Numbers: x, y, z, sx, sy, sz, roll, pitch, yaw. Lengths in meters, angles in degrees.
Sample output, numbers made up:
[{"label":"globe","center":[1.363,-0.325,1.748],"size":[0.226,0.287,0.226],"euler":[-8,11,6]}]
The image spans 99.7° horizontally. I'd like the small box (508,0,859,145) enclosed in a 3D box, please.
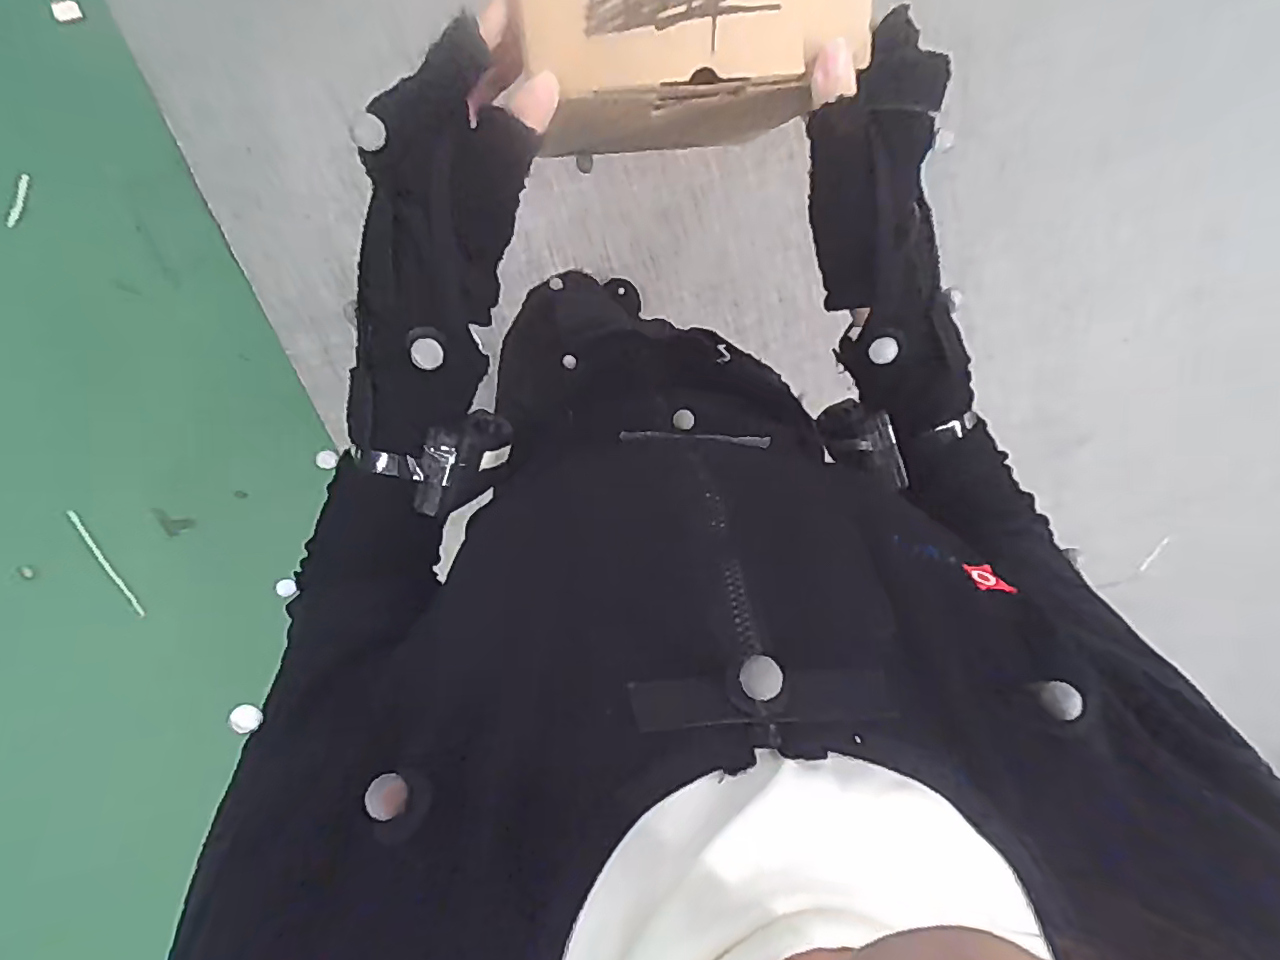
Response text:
[{"label":"small box","center":[0.009,-0.301,0.300],"size":[0.168,0.176,0.179],"euler":[-8,112,-5]}]
